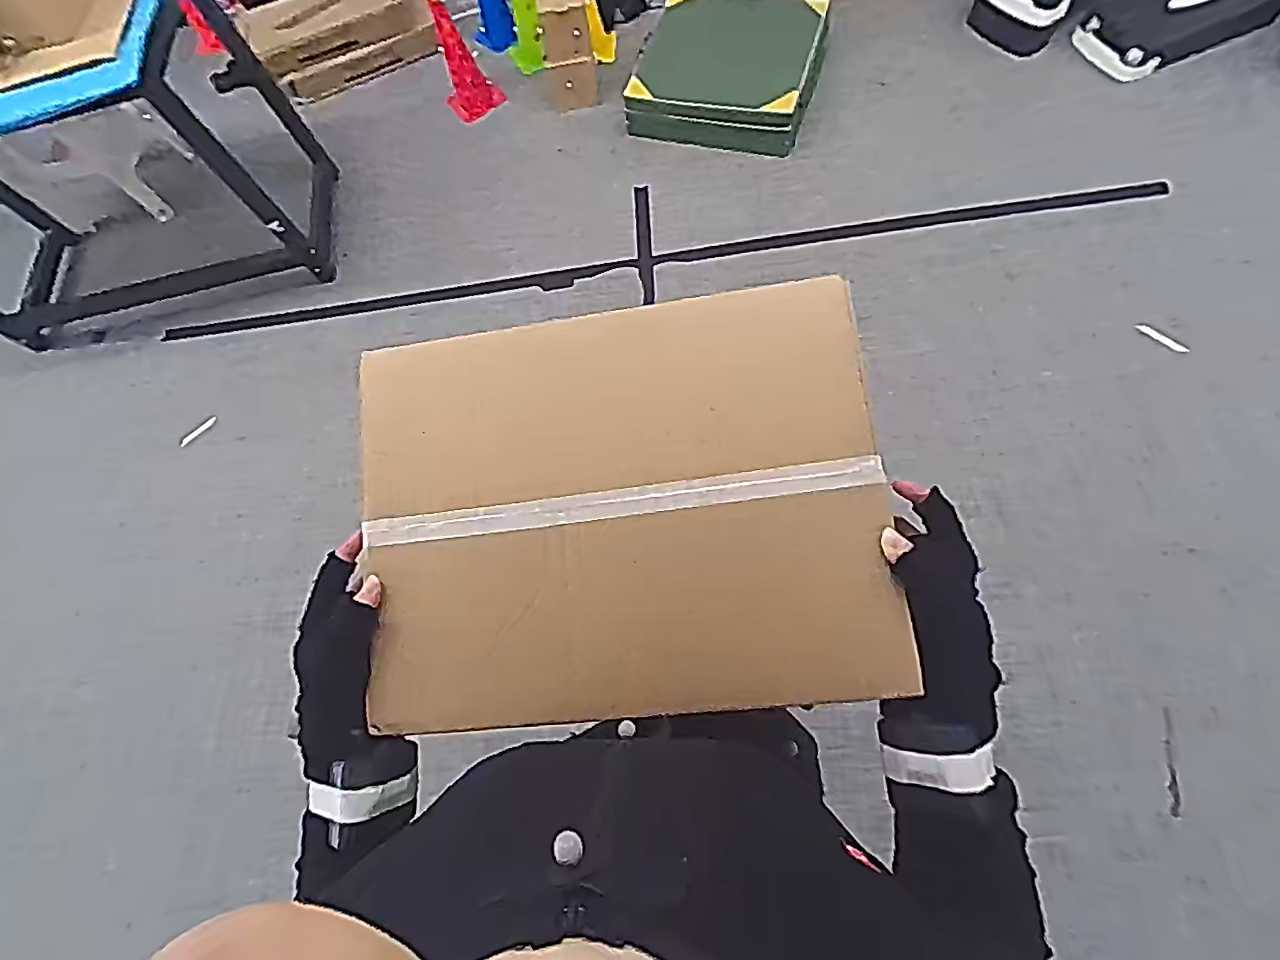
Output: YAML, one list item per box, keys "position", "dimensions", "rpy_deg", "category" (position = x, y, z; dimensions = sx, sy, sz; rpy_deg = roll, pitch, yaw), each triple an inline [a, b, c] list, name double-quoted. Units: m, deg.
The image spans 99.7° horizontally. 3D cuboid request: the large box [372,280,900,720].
- position: [-0.004, 0.036, 0.575]
  dimensions: [0.408, 0.320, 0.320]
  rpy_deg: [-7, 79, 7]
  category: "large box"
